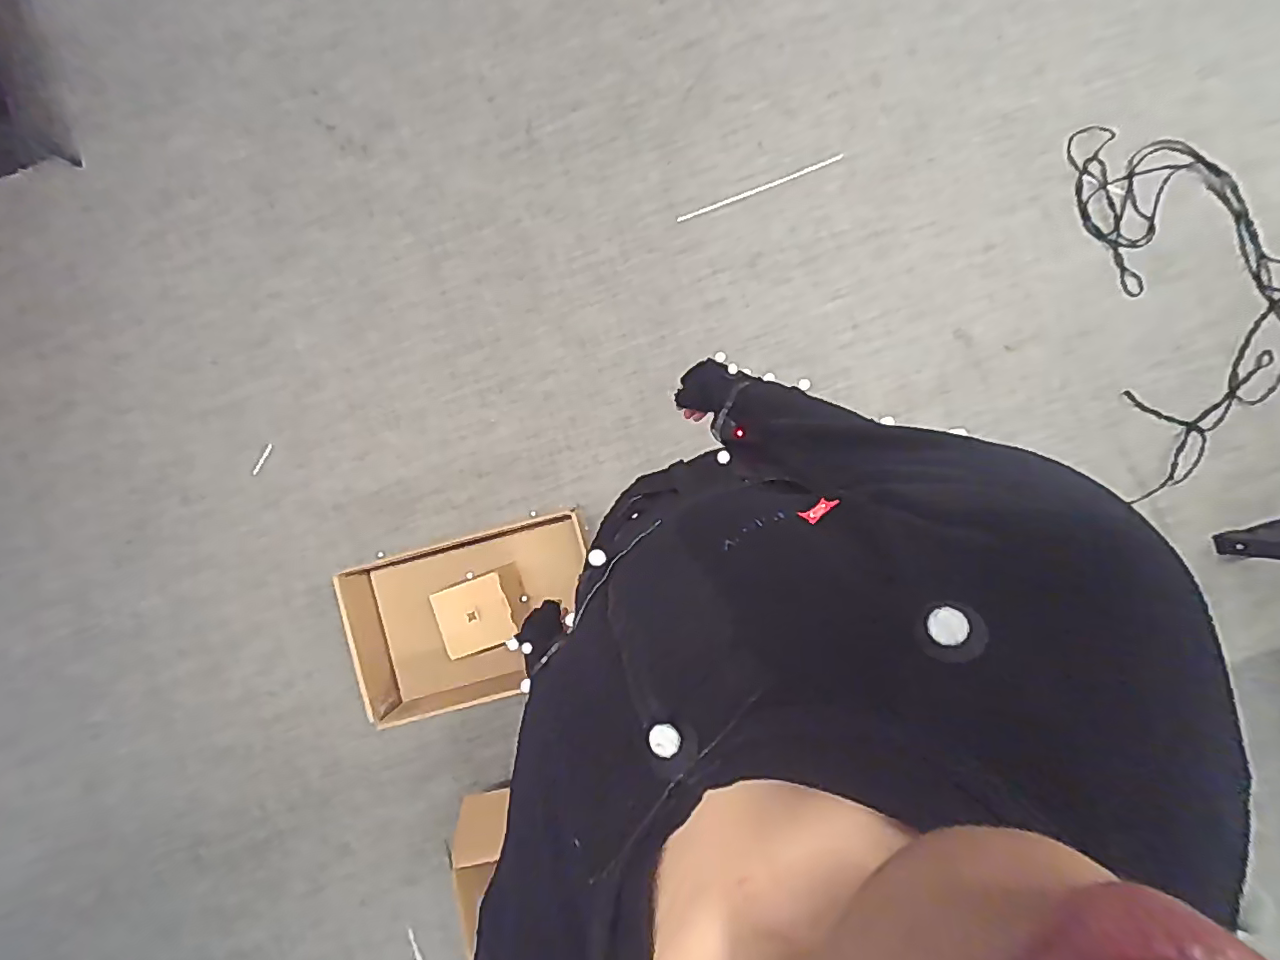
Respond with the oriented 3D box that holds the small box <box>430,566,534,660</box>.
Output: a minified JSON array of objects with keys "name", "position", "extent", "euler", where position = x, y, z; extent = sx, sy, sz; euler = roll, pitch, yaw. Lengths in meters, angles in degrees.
[{"name":"small box","position":[-0.387,0.325,1.351],"extent":[0.179,0.176,0.168],"euler":[-20,88,1]}]
